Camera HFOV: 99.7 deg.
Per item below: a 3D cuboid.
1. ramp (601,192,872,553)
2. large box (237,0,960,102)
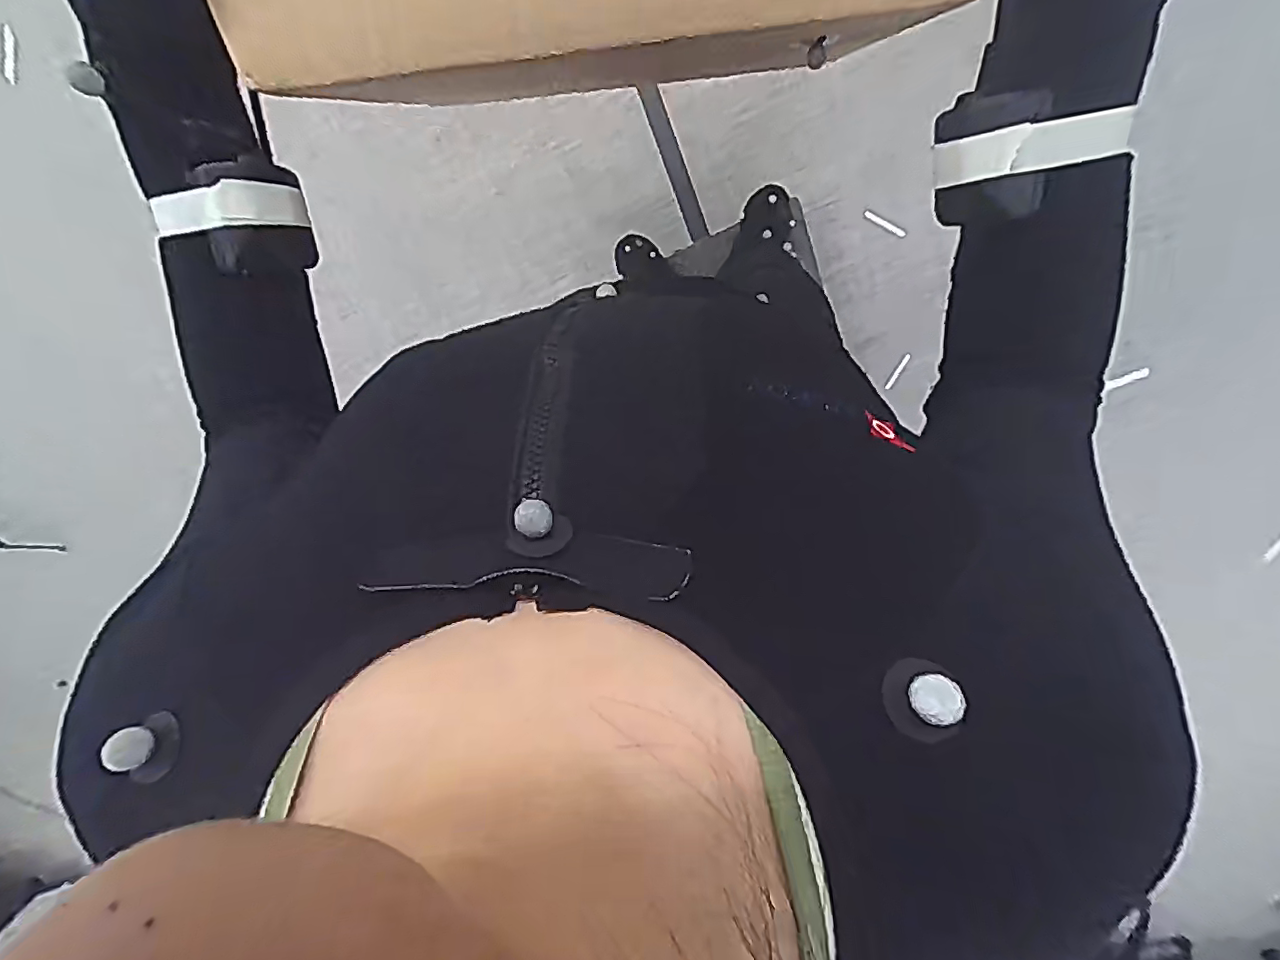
[{"bbox_3d":[0.326,-0.210,1.547,0.509,0.206,0.991,-23,111,13],"label":"ramp"},{"bbox_3d":[-0.028,-0.449,0.343,0.408,0.320,0.320,-3,123,5],"label":"large box"}]
